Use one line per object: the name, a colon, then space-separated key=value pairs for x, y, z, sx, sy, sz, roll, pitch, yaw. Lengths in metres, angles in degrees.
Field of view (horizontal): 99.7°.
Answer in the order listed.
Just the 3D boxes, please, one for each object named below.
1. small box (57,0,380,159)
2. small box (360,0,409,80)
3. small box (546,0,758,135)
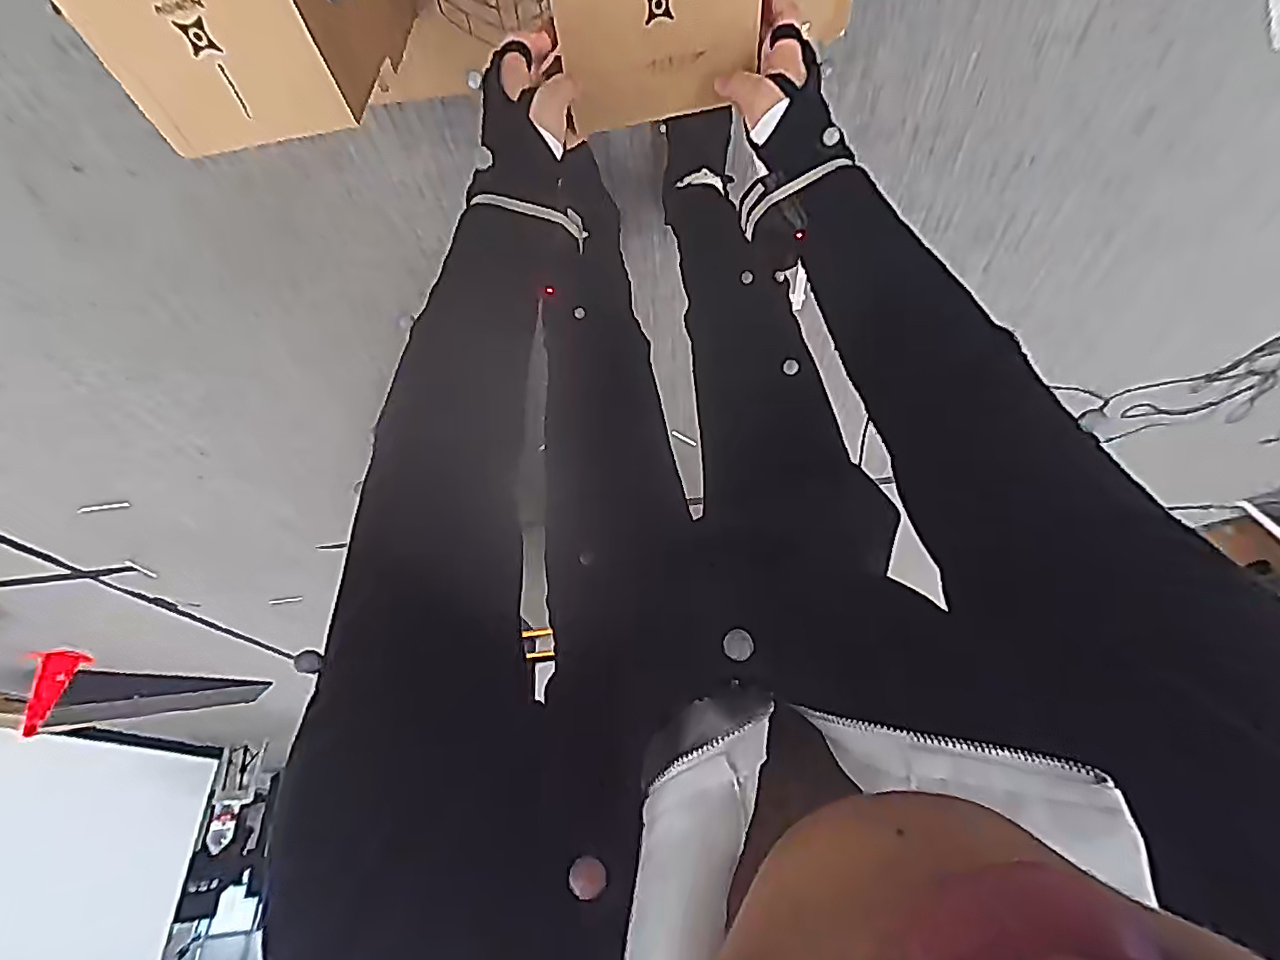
small box: x=-0.347 y=-0.411 z=0.453 sx=0.168 sy=0.176 sz=0.179 roll=-9 pitch=147 yaw=2
small box: x=-0.361 y=-0.538 z=0.557 sx=0.168 sy=0.176 sz=0.179 roll=-8 pitch=146 yaw=1
small box: x=-0.002 y=-0.438 z=0.454 sx=0.168 sy=0.176 sz=0.179 roll=-11 pitch=151 yaw=1
